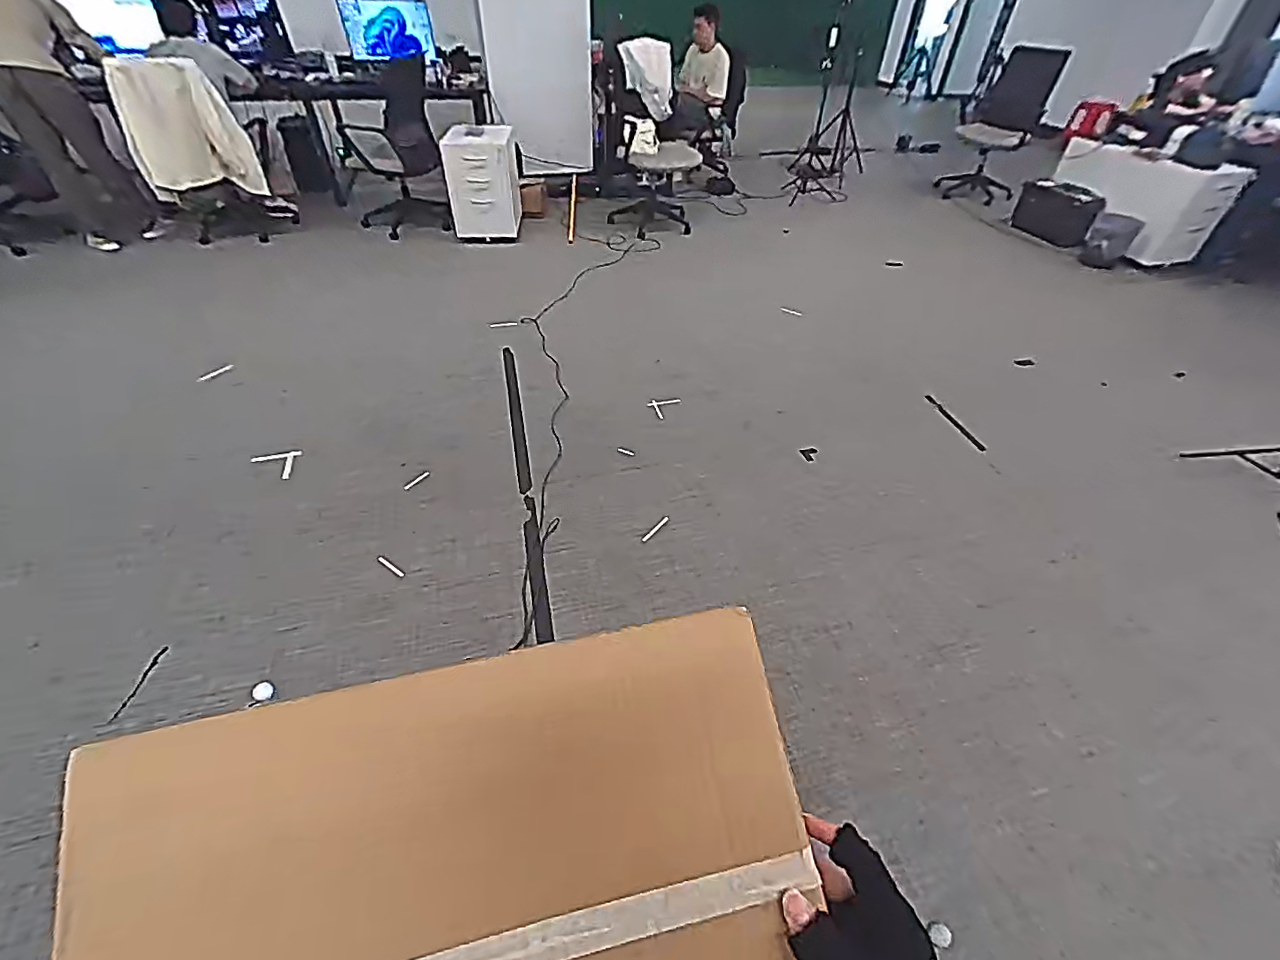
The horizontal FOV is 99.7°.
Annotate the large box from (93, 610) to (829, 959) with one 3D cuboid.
[{"bbox_3d":[-0.106,0.315,0.446,0.408,0.320,0.320,-10,75,-8],"label":"large box"}]
